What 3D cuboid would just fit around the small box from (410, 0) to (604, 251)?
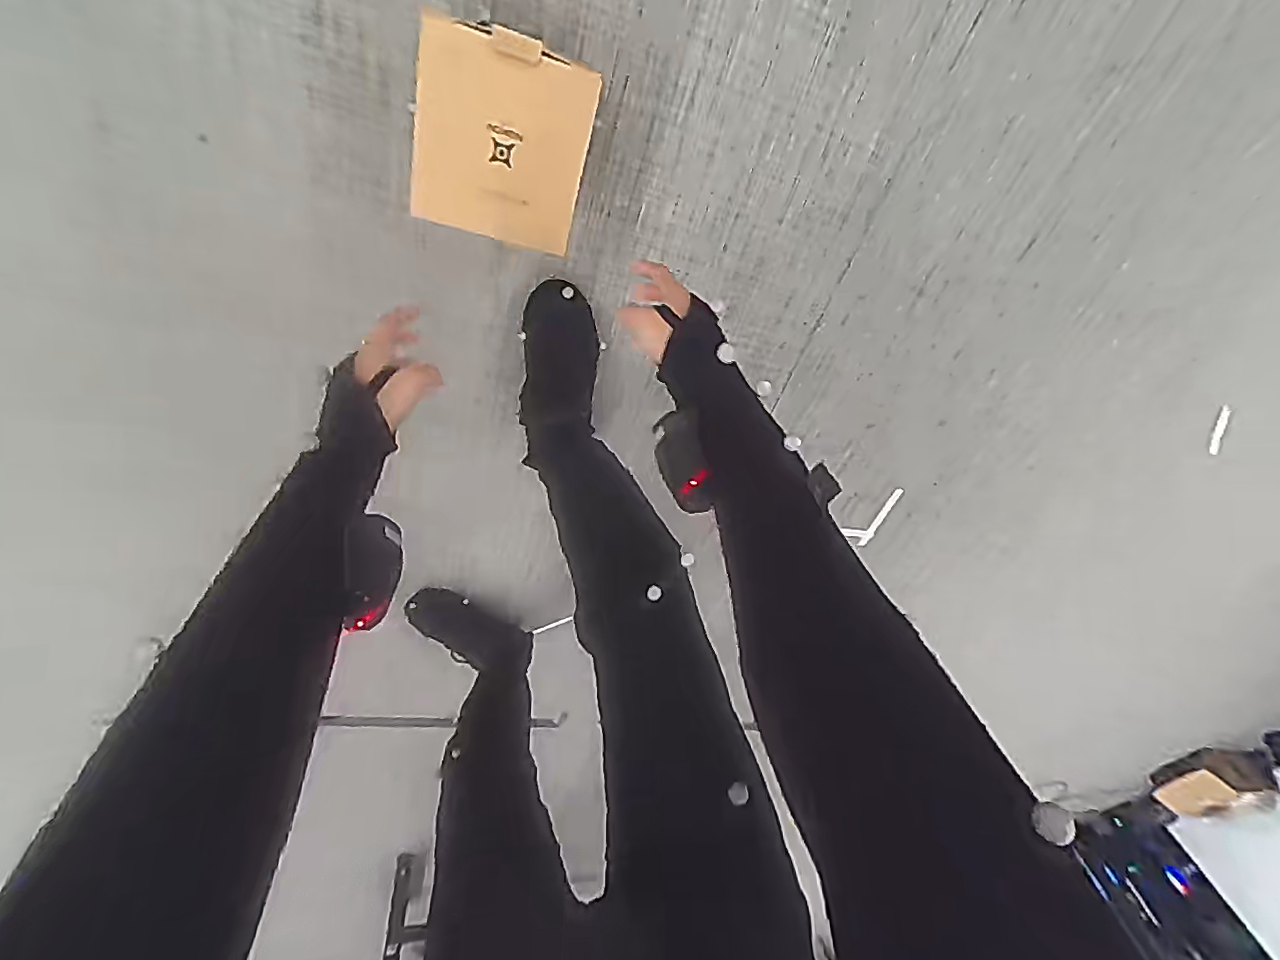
[{"bbox_3d":[-0.148,-0.387,0.601,0.168,0.176,0.179,10,126,-17],"label":"small box"}]
